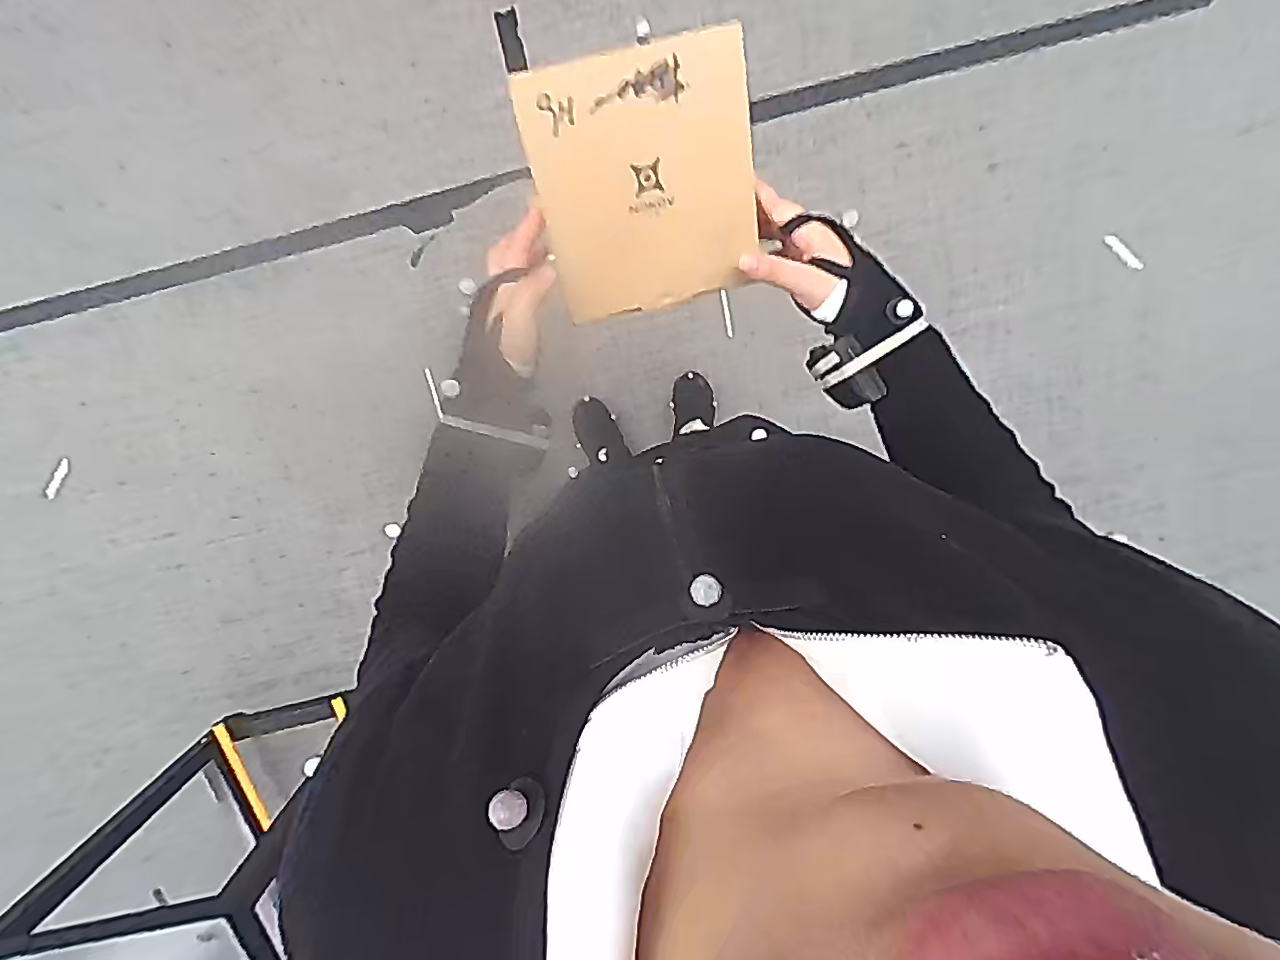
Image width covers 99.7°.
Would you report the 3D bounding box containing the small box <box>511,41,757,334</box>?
[{"bbox_3d":[-0.005,-0.254,0.478,0.168,0.176,0.179,-14,124,-2],"label":"small box"}]
